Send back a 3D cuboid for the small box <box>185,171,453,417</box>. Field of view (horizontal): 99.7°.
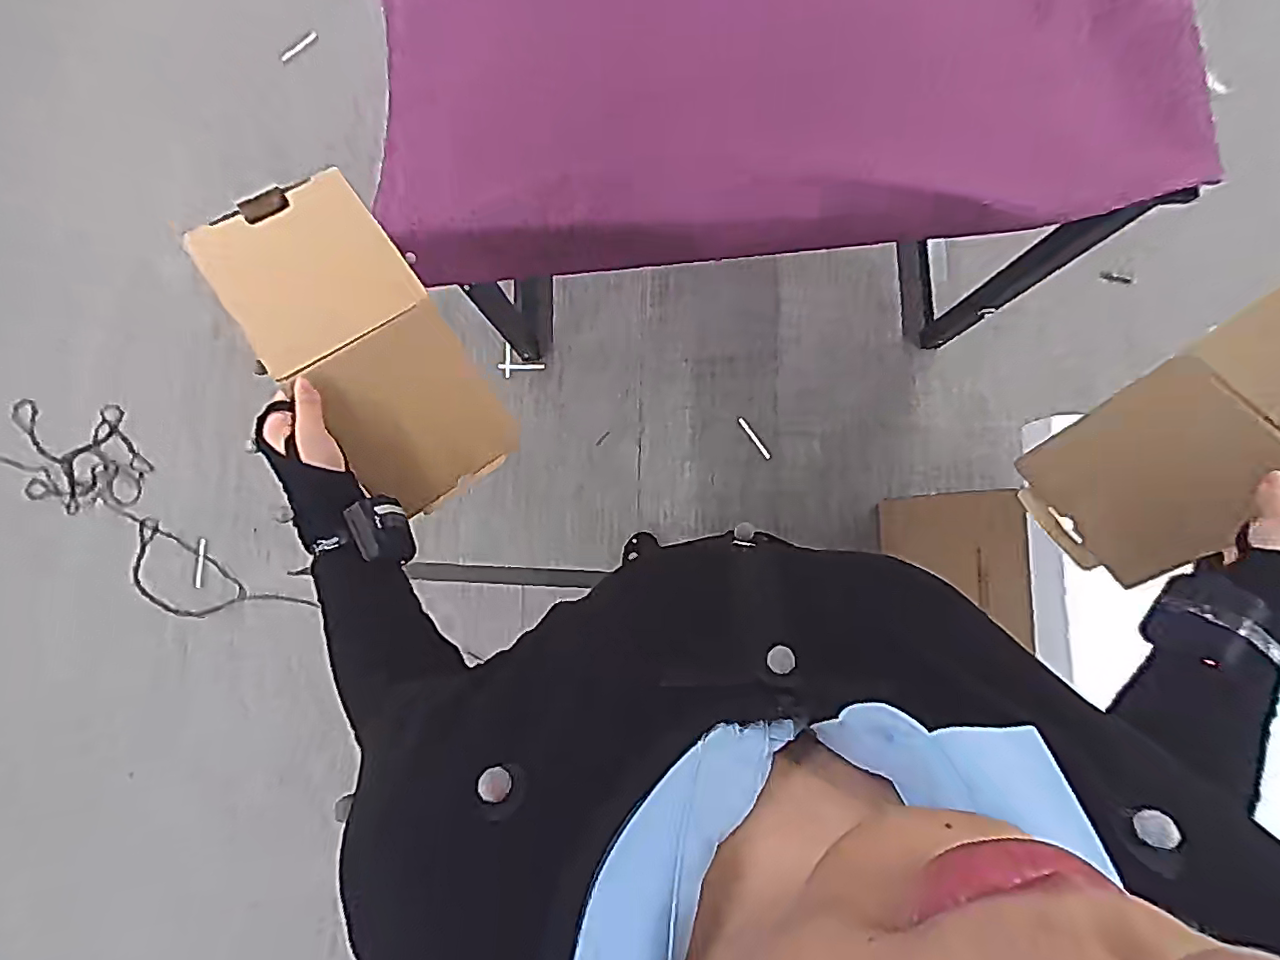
[{"bbox_3d":[-0.333,-0.188,0.605,0.168,0.176,0.179,-34,86,-14],"label":"small box"}]
